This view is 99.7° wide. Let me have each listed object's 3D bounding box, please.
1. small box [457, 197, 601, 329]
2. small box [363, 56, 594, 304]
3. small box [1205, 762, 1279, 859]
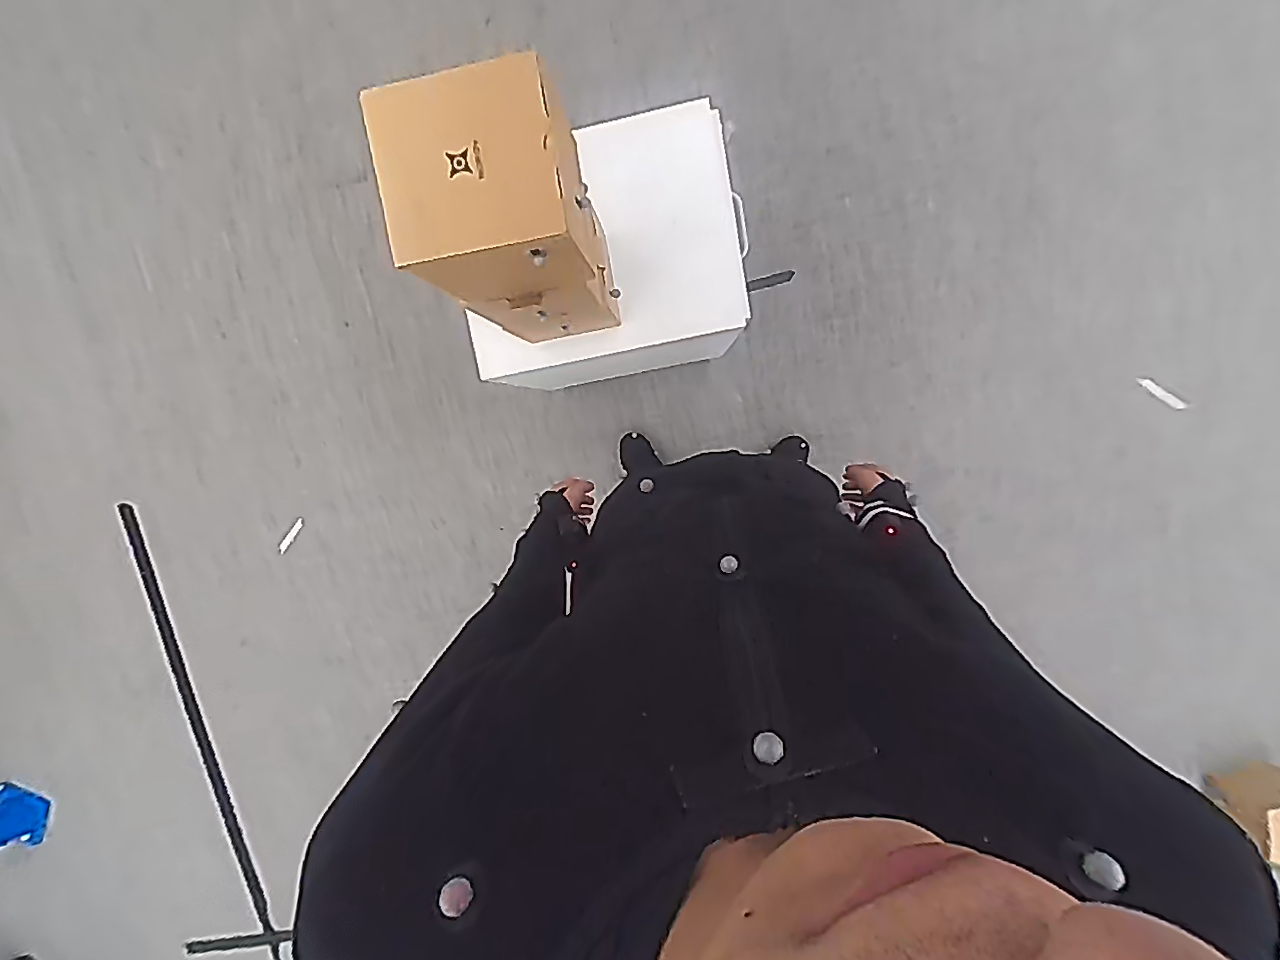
[{"bbox_3d":[-0.156,-0.322,0.749,0.168,0.176,0.179,-8,96,6],"label":"small box"},{"bbox_3d":[-0.159,-0.302,0.587,0.179,0.176,0.168,-10,95,5],"label":"small box"},{"bbox_3d":[1.806,0.945,1.559,0.179,0.176,0.168,-11,95,5],"label":"small box"}]
